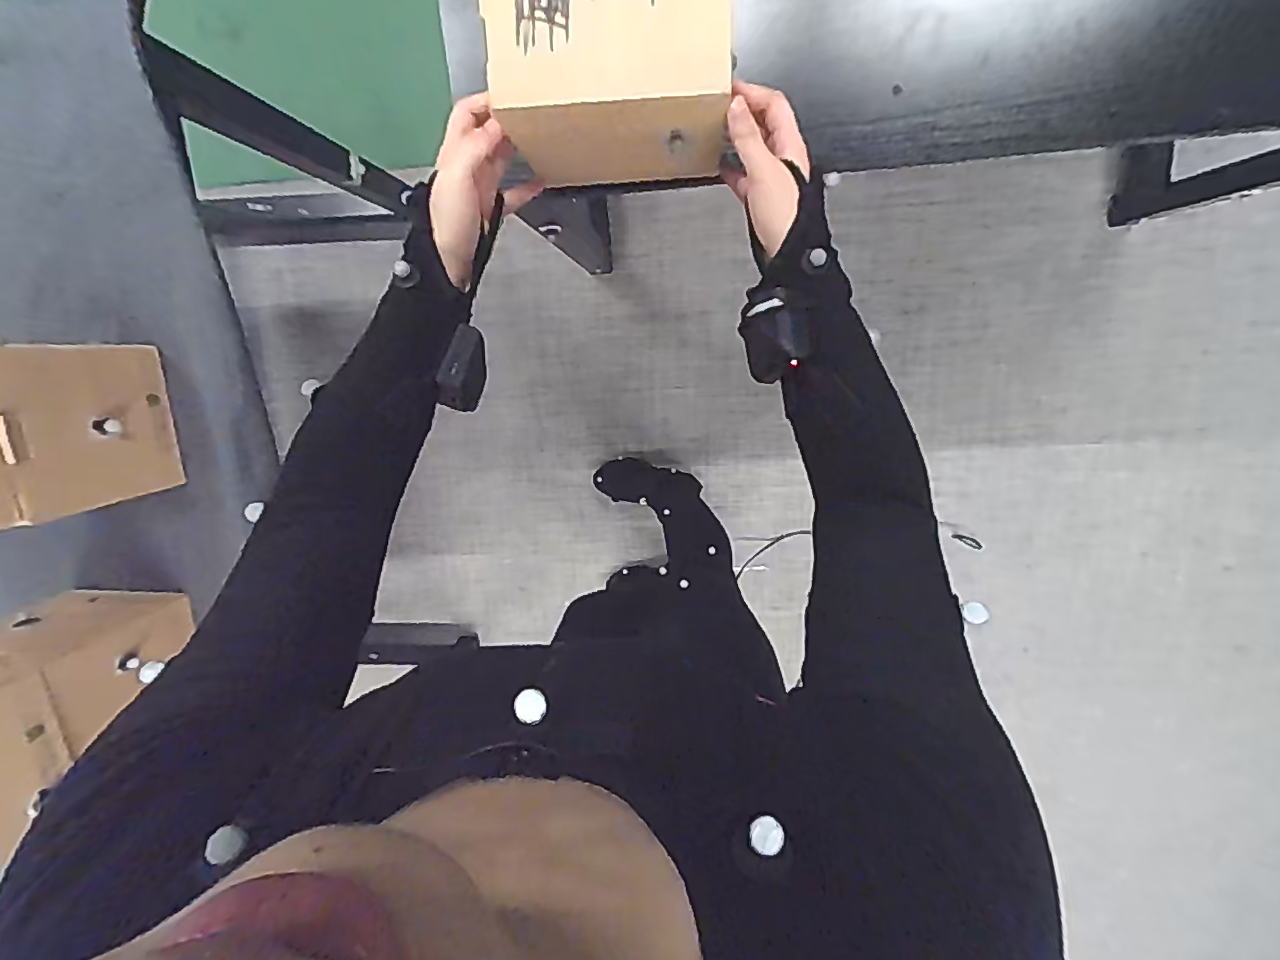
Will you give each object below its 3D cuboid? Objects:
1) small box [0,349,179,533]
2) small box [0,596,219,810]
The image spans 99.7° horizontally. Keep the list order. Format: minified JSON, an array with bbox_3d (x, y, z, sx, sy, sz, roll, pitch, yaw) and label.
[{"bbox_3d":[-0.637,-0.051,0.569,0.179,0.176,0.168,1,105,5],"label":"small box"},{"bbox_3d":[-0.660,0.253,0.649,0.168,0.176,0.179,1,105,6],"label":"small box"}]
